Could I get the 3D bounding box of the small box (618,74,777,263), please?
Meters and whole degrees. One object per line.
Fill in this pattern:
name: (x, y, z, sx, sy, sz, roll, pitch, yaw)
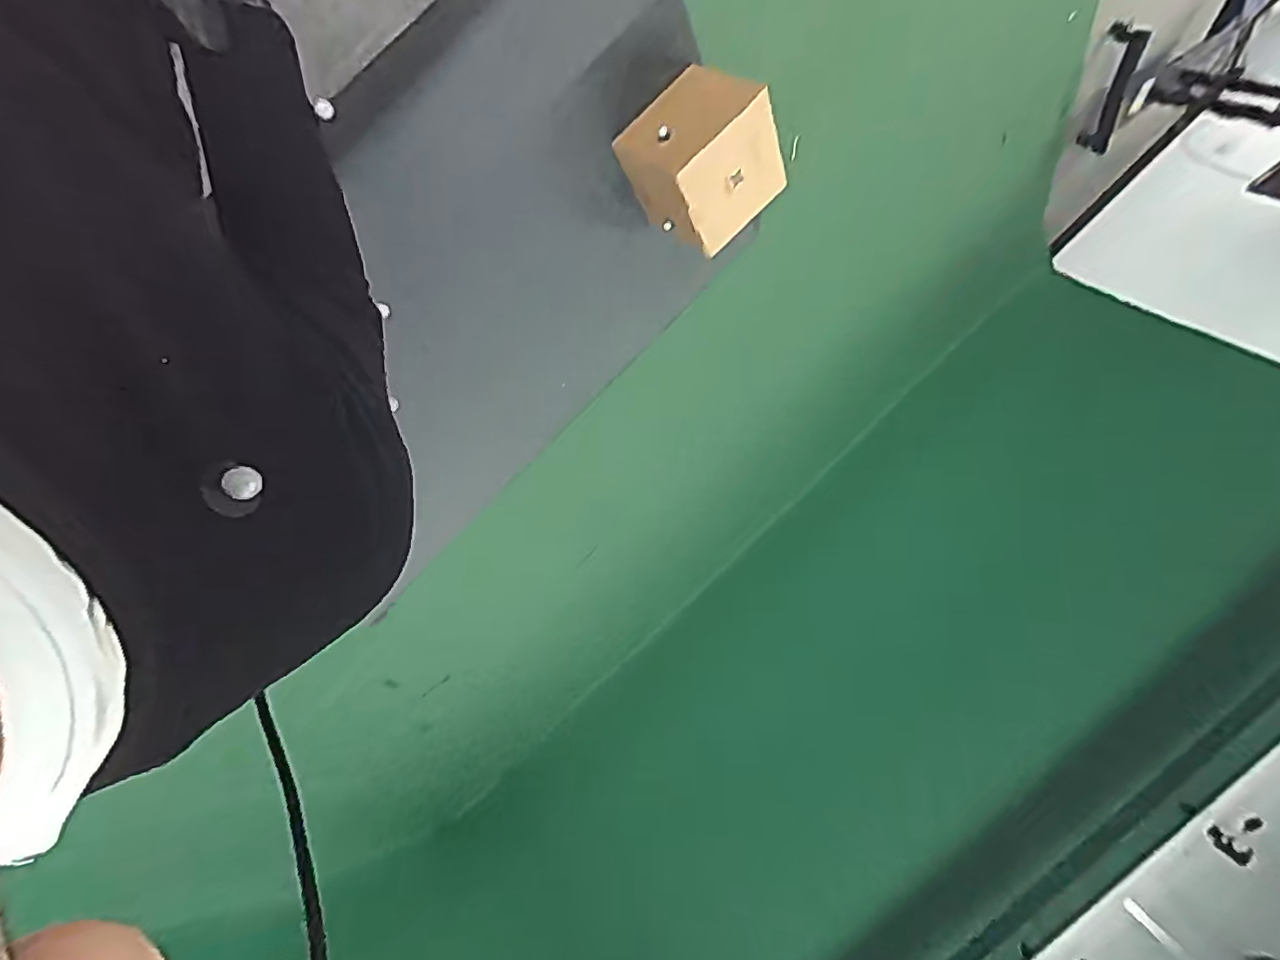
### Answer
small box: (0.086, -0.490, 0.853, 0.179, 0.176, 0.168, -43, 149, -1)
